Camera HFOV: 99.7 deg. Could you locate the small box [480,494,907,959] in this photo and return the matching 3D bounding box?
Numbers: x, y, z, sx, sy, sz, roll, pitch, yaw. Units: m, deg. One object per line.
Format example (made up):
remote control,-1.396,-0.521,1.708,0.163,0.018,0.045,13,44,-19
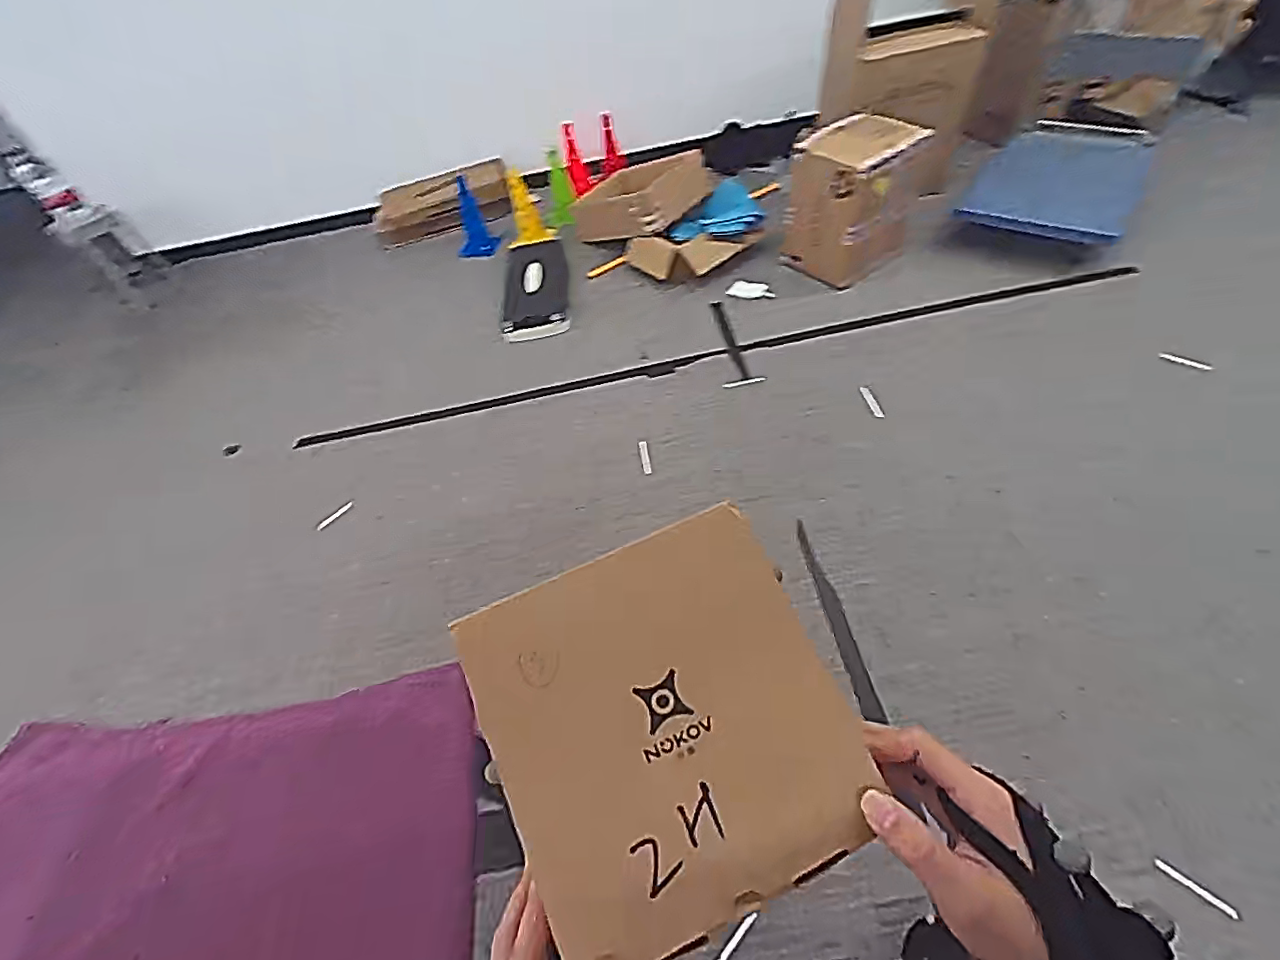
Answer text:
small box,0.018,0.137,0.345,0.168,0.176,0.179,-22,72,-9
